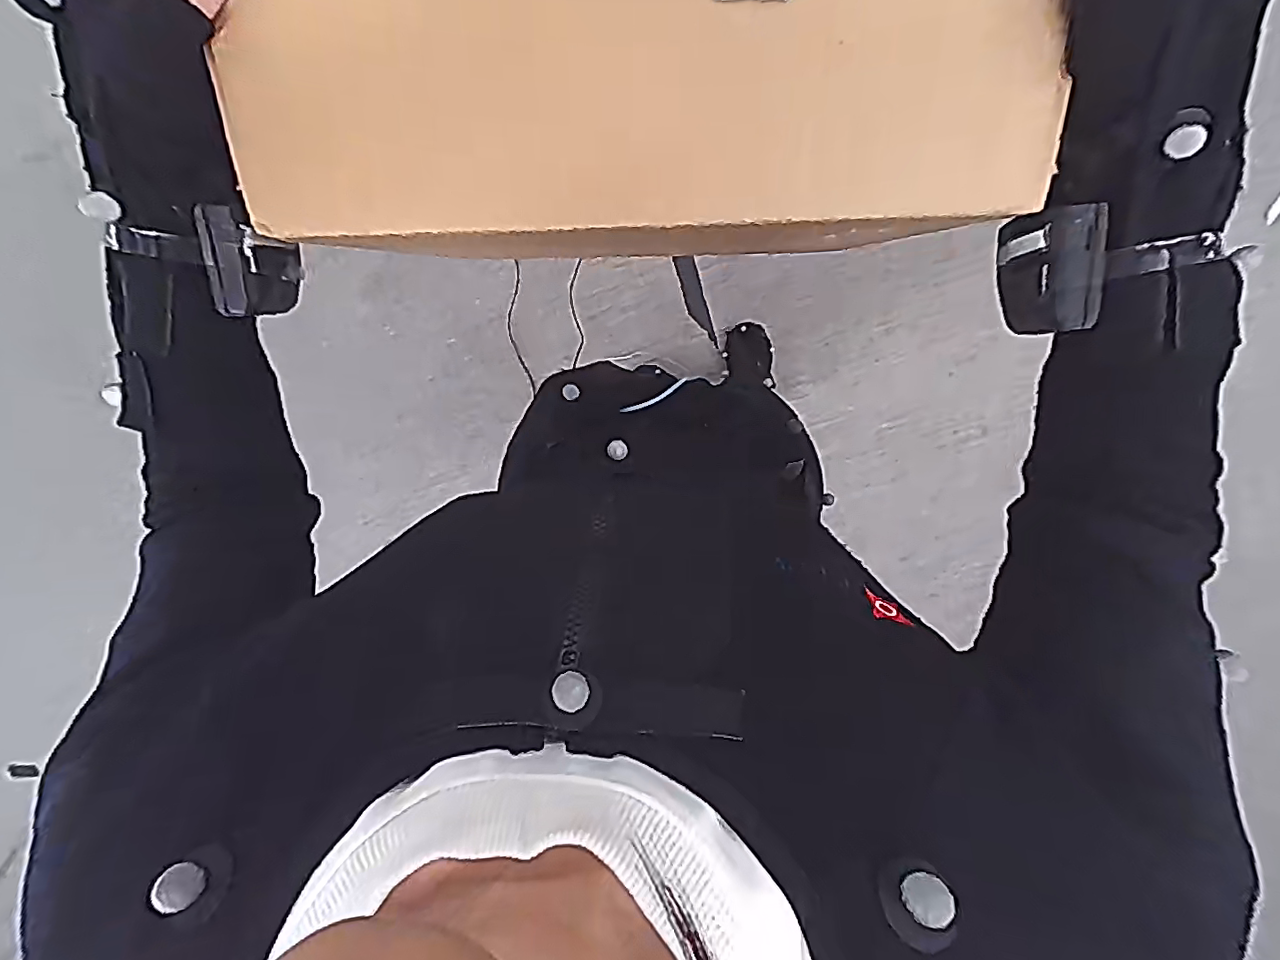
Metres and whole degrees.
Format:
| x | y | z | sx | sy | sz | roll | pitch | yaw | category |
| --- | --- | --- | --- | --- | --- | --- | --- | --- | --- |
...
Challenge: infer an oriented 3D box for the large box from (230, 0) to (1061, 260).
| x | y | z | sx | sy | sz | roll | pitch | yaw | category |
| --- | --- | --- | --- | --- | --- | --- | --- | --- | --- |
| 0.000 | -0.337 | 0.377 | 0.408 | 0.320 | 0.320 | -2 | 111 | 3 | large box |
